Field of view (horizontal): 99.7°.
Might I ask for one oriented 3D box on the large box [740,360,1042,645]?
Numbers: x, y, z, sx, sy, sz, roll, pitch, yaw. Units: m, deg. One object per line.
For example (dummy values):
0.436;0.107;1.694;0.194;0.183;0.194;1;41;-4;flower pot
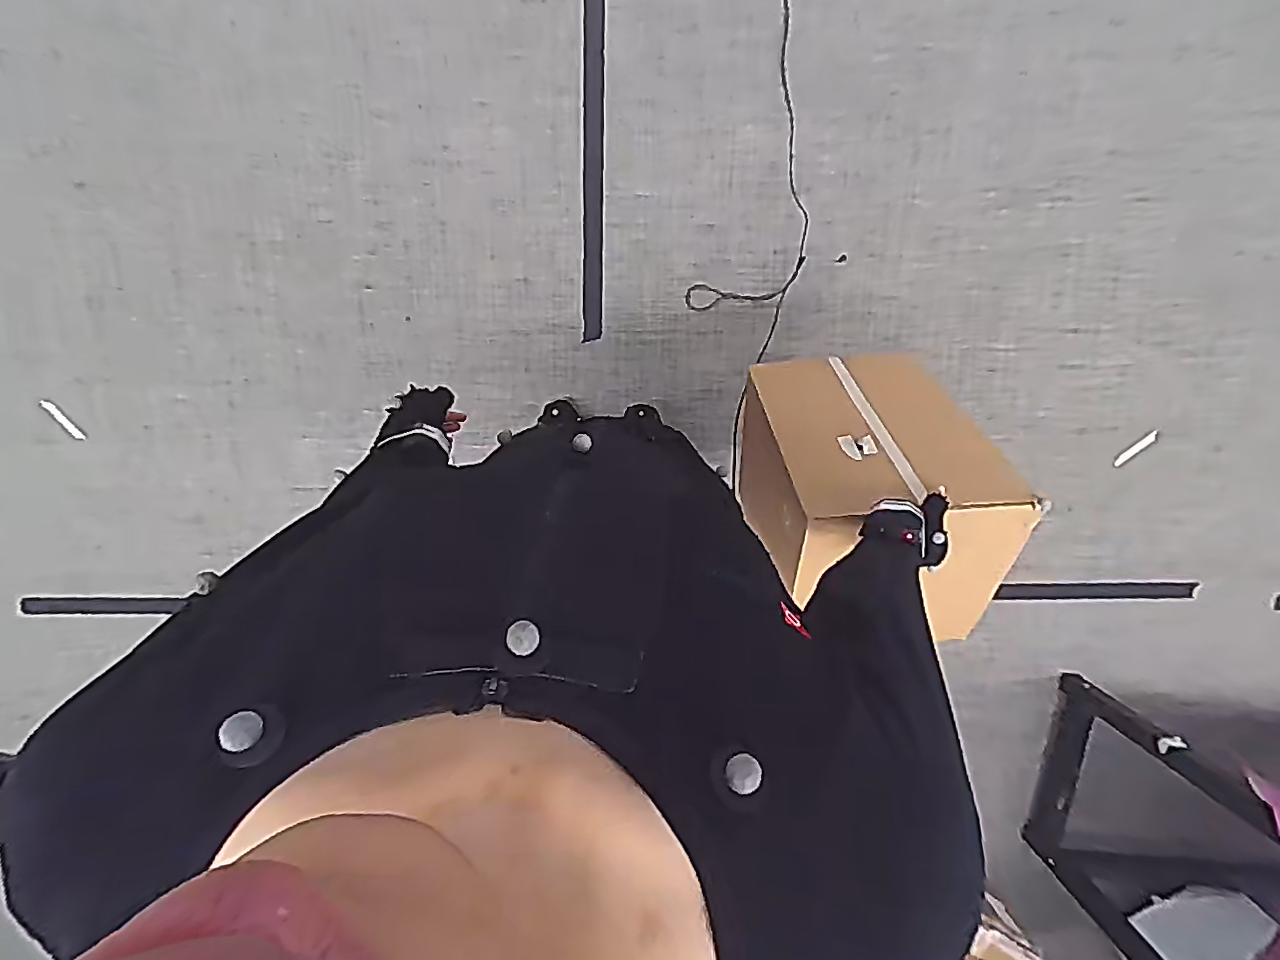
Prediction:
0.378;0.029;0.962;0.320;0.408;0.320;-5;132;0;large box
